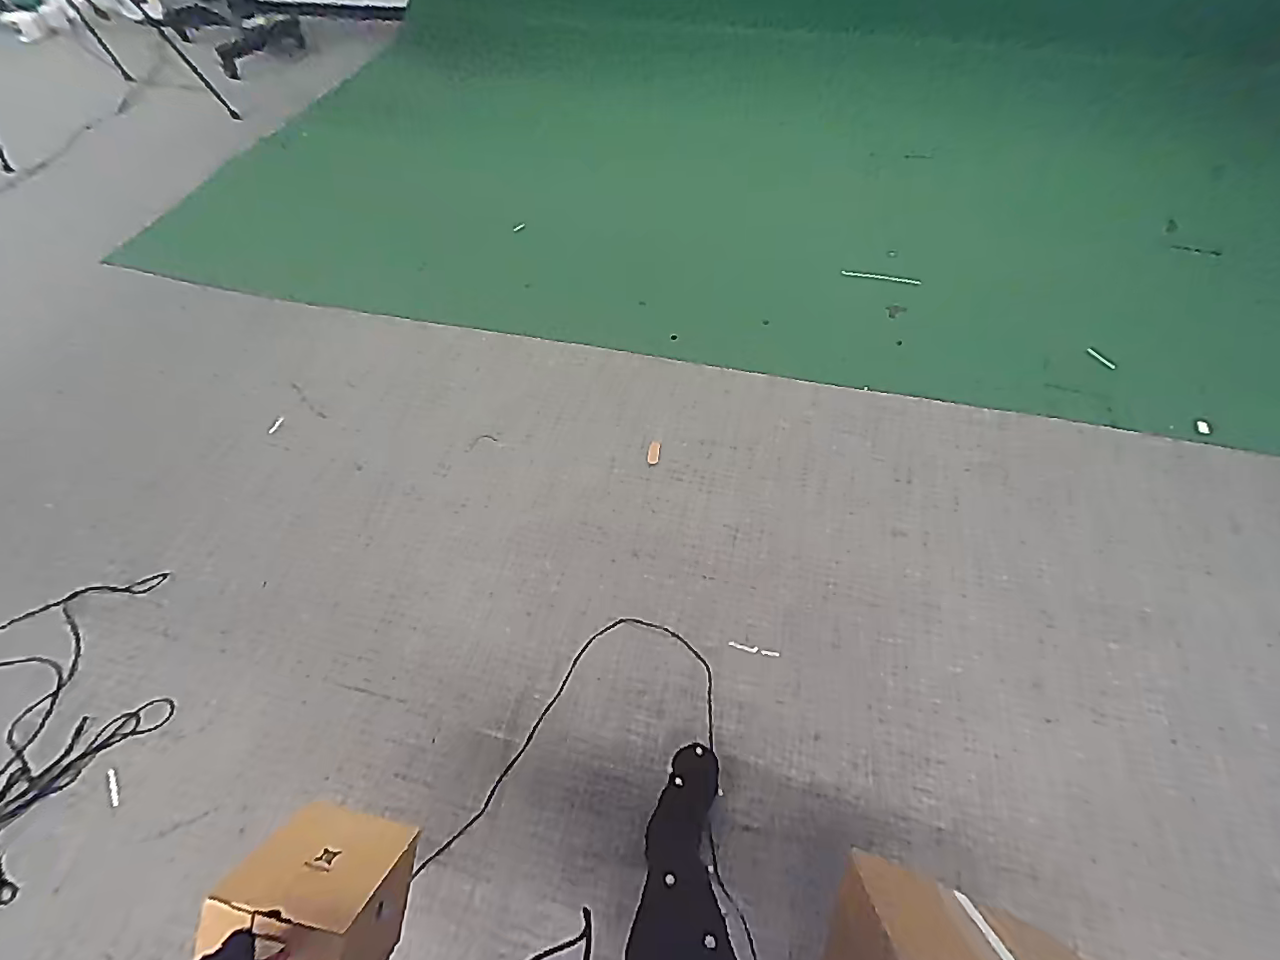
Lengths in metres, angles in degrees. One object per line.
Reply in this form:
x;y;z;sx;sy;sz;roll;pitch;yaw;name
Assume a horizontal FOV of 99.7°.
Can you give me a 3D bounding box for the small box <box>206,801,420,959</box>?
-0.409;0.555;0.680;0.168;0.179;0.176;11;93;4;small box
